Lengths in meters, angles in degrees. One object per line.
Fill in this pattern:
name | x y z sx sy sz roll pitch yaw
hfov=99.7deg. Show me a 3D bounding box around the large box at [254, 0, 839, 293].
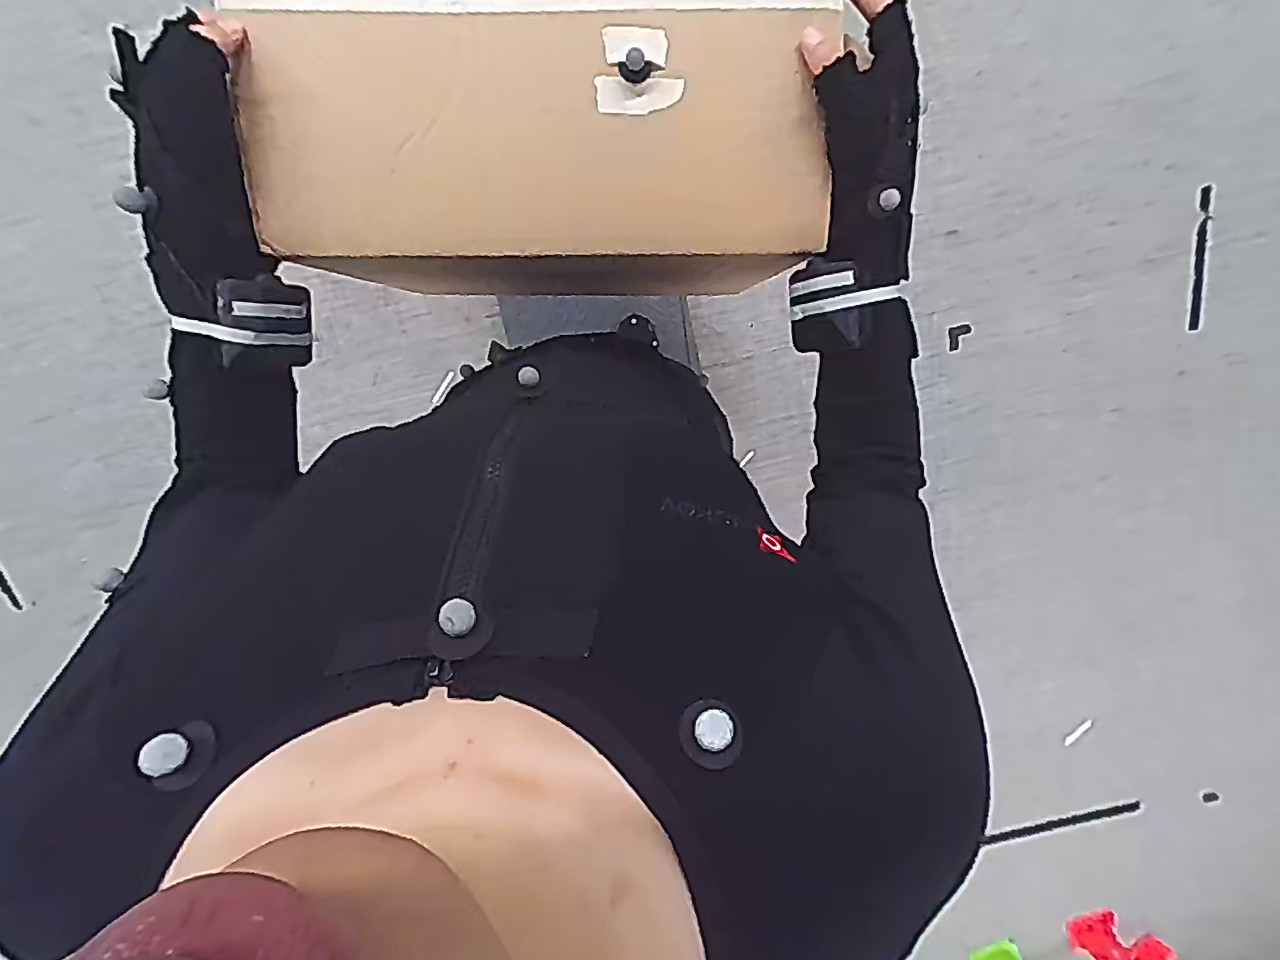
large box | -0.067 -0.359 0.510 0.408 0.320 0.320 -1 104 -2
